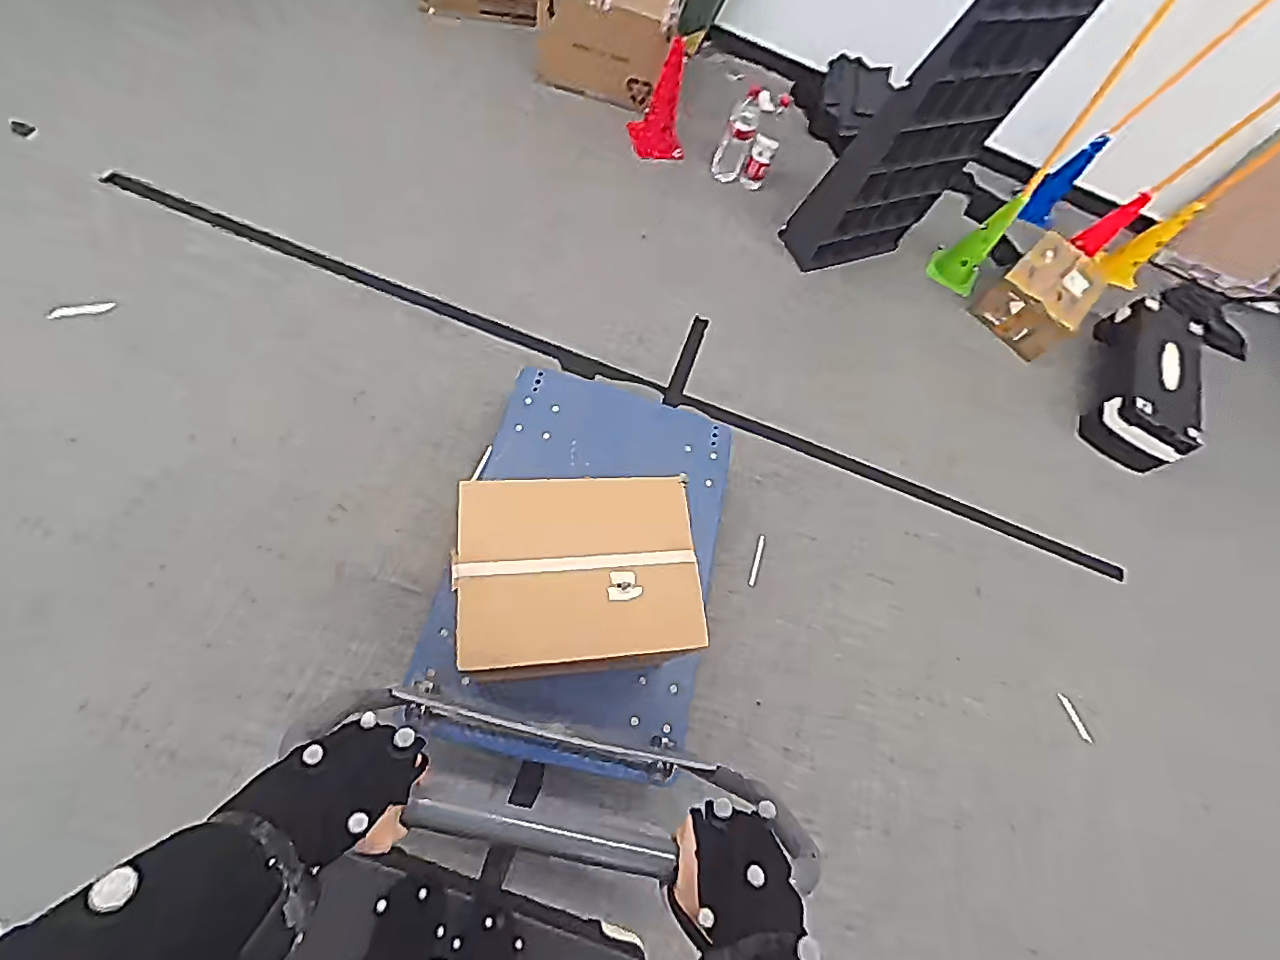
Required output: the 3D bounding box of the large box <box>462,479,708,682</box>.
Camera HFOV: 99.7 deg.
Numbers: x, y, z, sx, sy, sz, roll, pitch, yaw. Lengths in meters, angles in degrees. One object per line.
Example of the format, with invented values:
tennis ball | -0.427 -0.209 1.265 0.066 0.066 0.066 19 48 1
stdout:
large box | -0.128 0.201 1.051 0.408 0.320 0.320 -1 68 -15
